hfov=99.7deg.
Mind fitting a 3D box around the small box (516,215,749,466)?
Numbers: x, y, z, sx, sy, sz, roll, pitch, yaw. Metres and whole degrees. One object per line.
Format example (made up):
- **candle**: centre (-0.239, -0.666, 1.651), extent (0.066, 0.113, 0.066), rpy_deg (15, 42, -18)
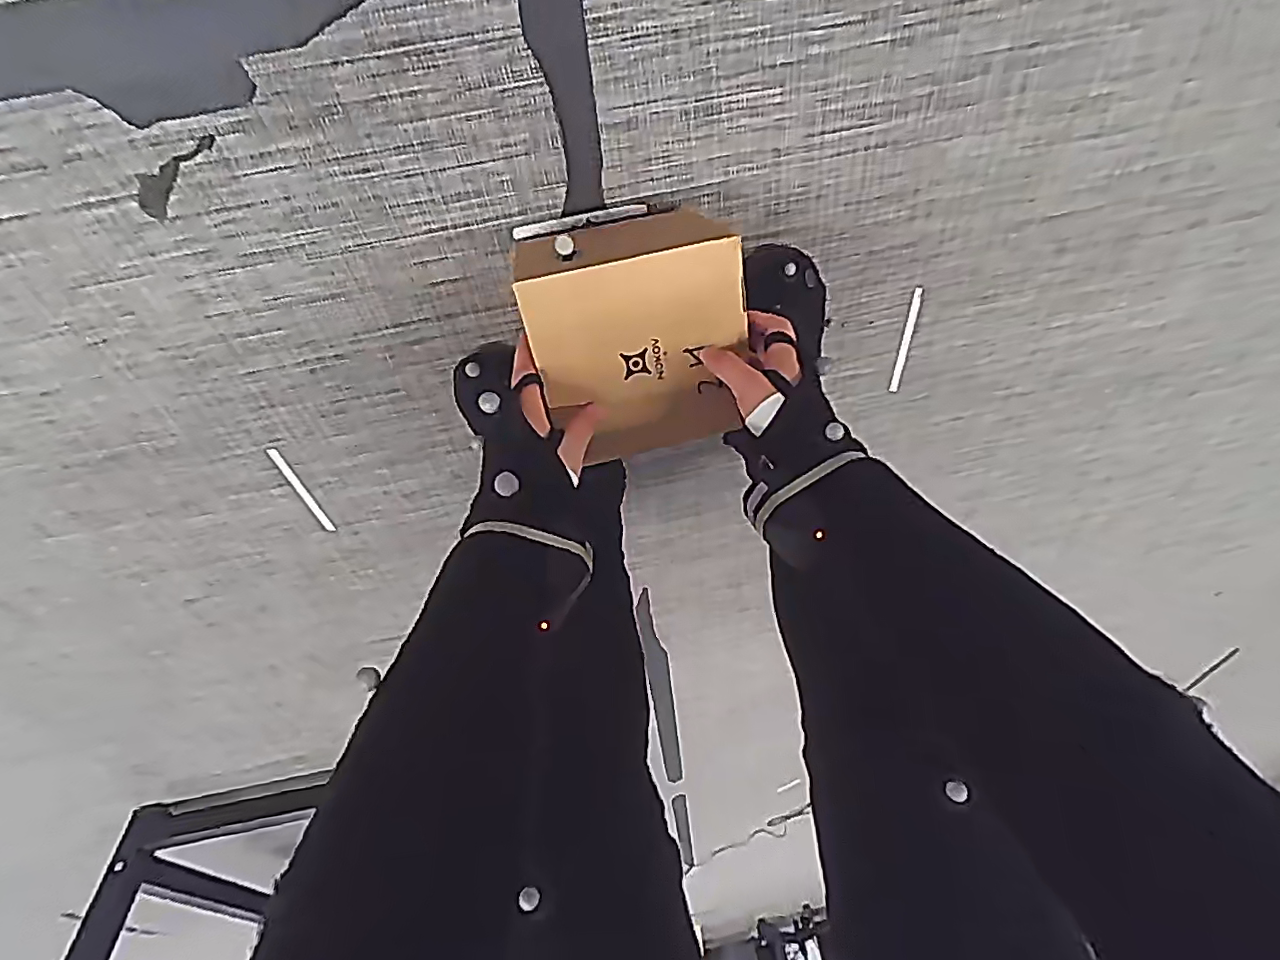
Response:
- **small box**: centre (-0.010, -0.139, 0.509), extent (0.179, 0.176, 0.168), rpy_deg (-14, 124, -5)
